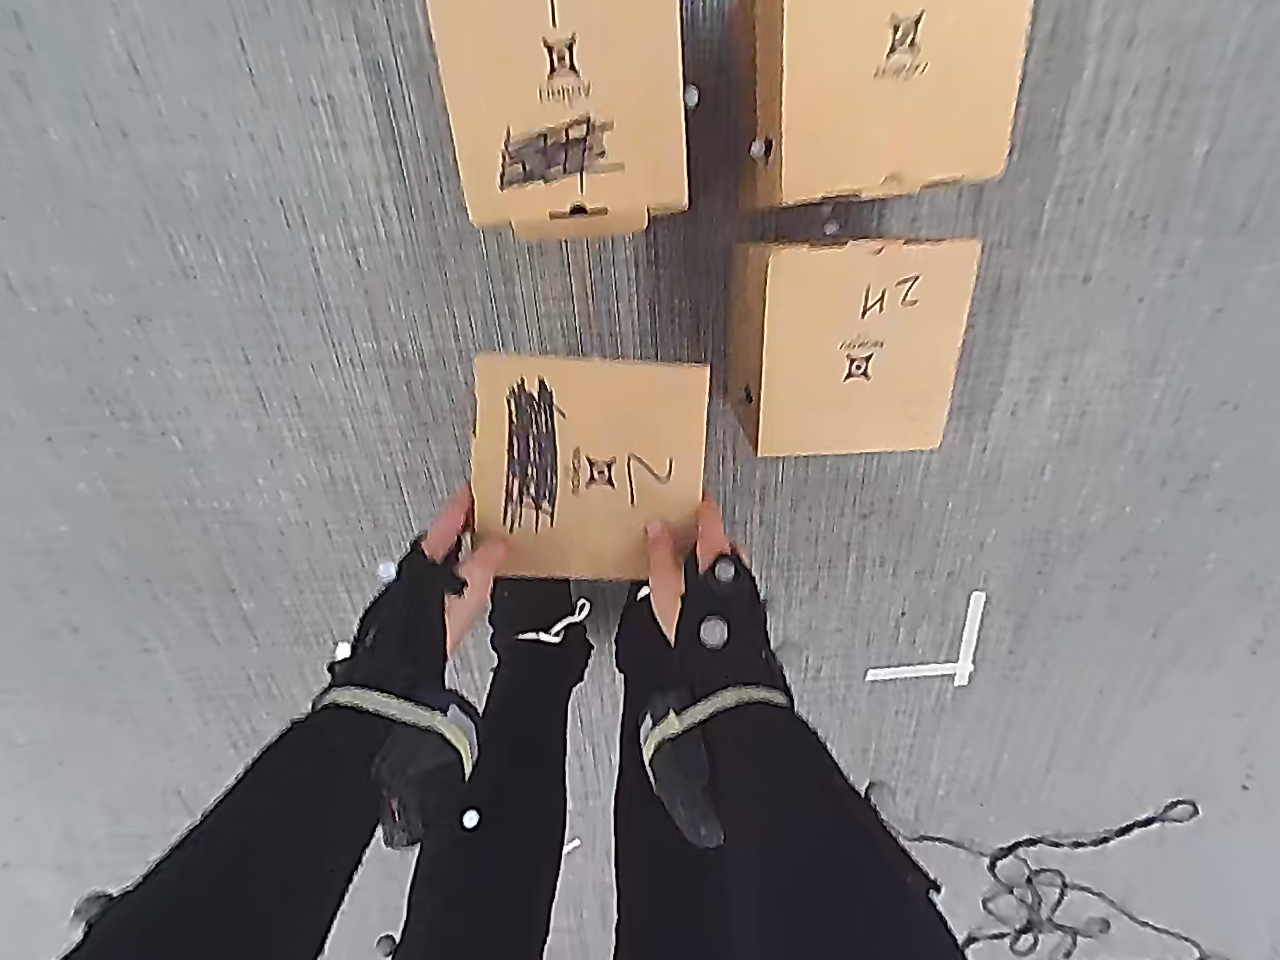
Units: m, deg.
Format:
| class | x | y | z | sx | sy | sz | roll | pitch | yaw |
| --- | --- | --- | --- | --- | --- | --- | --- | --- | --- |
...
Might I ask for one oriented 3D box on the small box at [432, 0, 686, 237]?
| class | x | y | z | sx | sy | sz | roll | pitch | yaw |
| --- | --- | --- | --- | --- | --- | --- | --- | --- | --- |
| small box | -0.051 | -0.301 | 0.443 | 0.168 | 0.176 | 0.179 | -4 | 113 | 1 |
